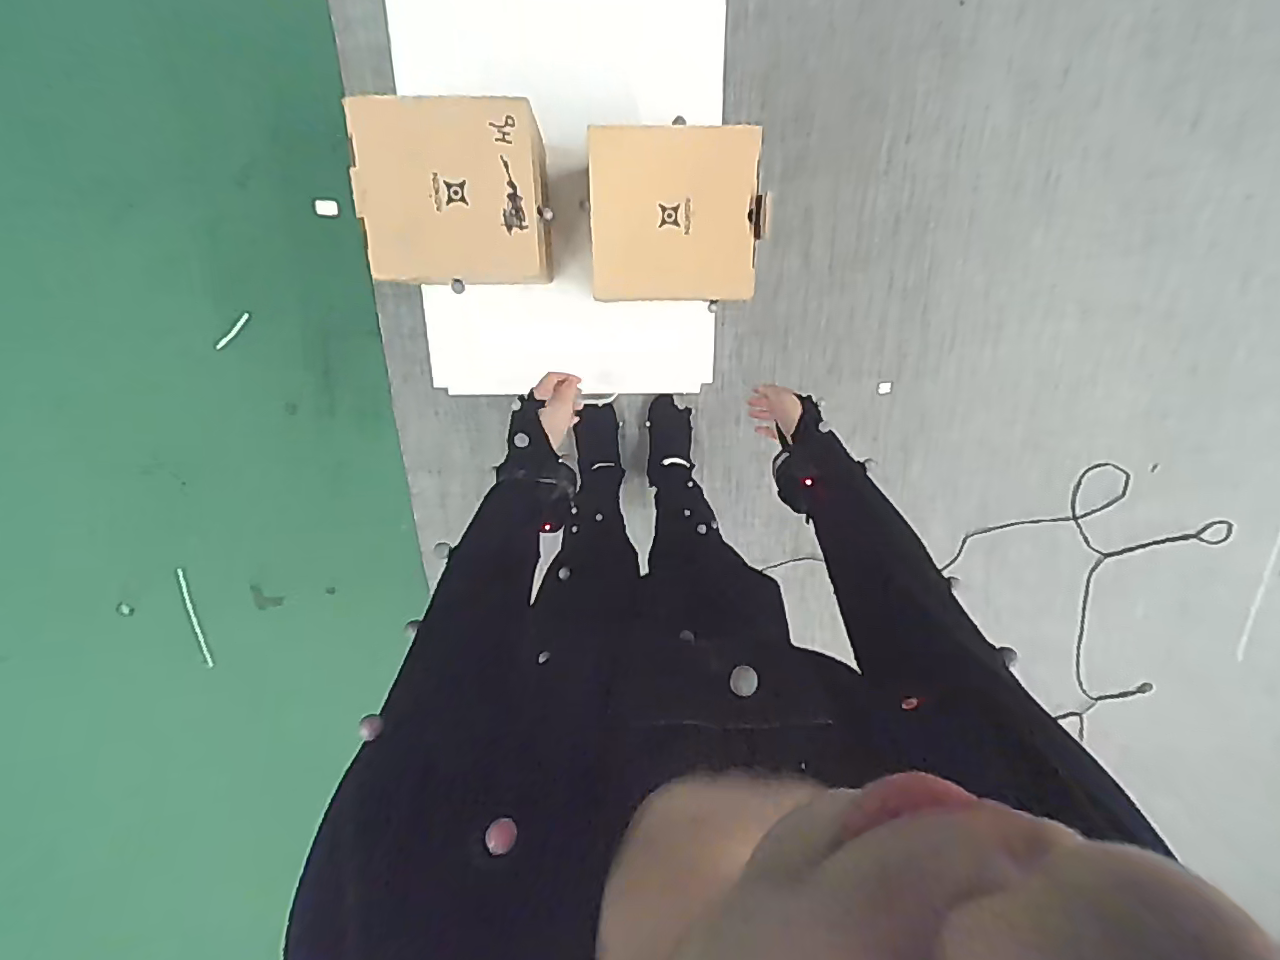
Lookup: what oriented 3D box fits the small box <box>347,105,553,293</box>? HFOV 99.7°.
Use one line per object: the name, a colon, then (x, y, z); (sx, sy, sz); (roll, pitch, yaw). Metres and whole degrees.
small box: (-0.199, -0.305, 0.619); (0.179, 0.176, 0.168); (-2, 108, -3)
